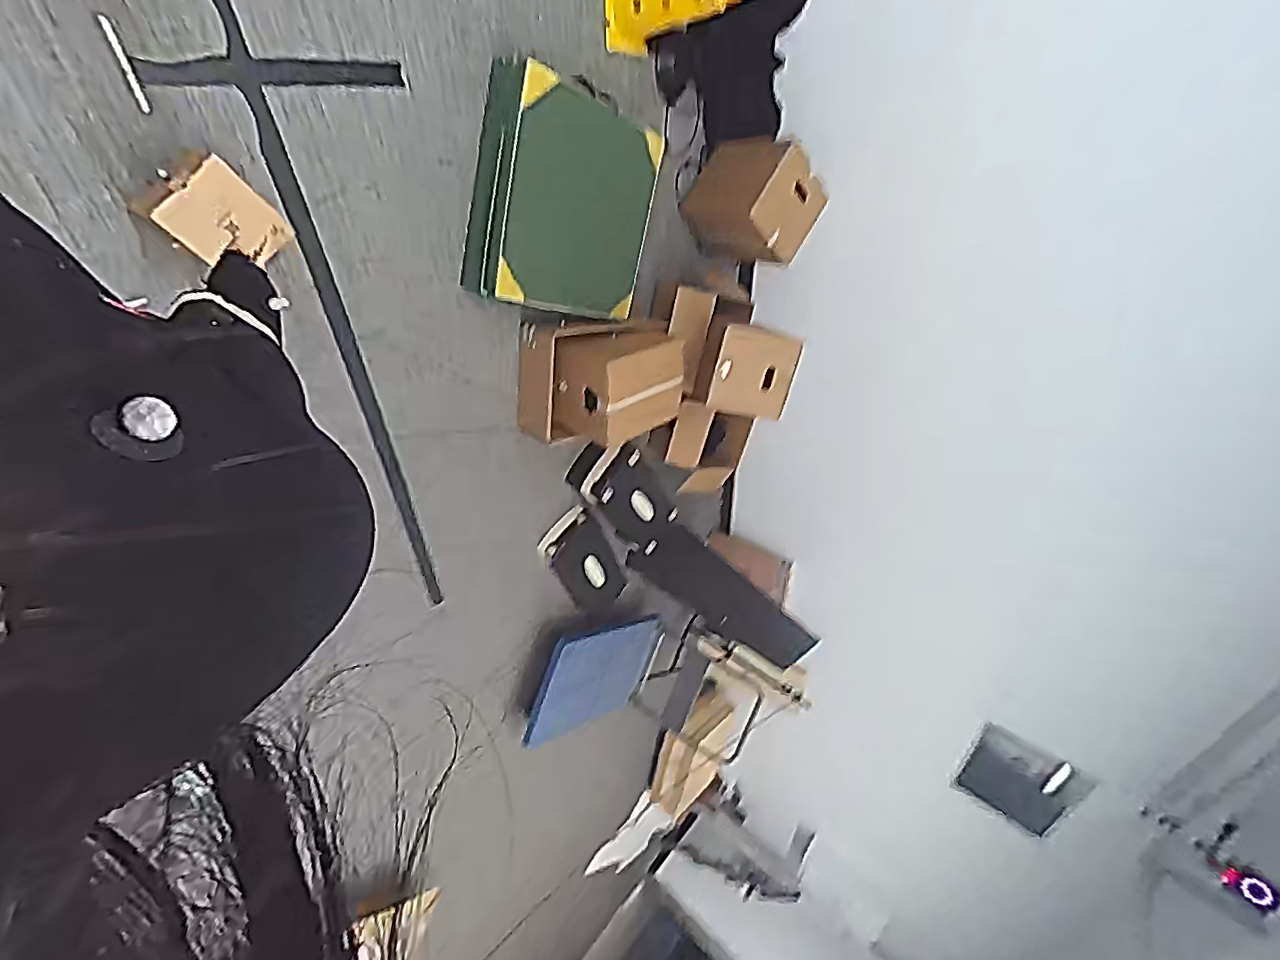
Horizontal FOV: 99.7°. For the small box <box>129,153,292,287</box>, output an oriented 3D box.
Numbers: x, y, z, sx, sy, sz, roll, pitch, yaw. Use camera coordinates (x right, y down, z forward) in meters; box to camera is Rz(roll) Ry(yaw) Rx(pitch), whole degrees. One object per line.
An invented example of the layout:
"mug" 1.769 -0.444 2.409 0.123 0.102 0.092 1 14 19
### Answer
"small box" -0.857 -0.520 1.079 0.168 0.176 0.179 -54 146 -12
